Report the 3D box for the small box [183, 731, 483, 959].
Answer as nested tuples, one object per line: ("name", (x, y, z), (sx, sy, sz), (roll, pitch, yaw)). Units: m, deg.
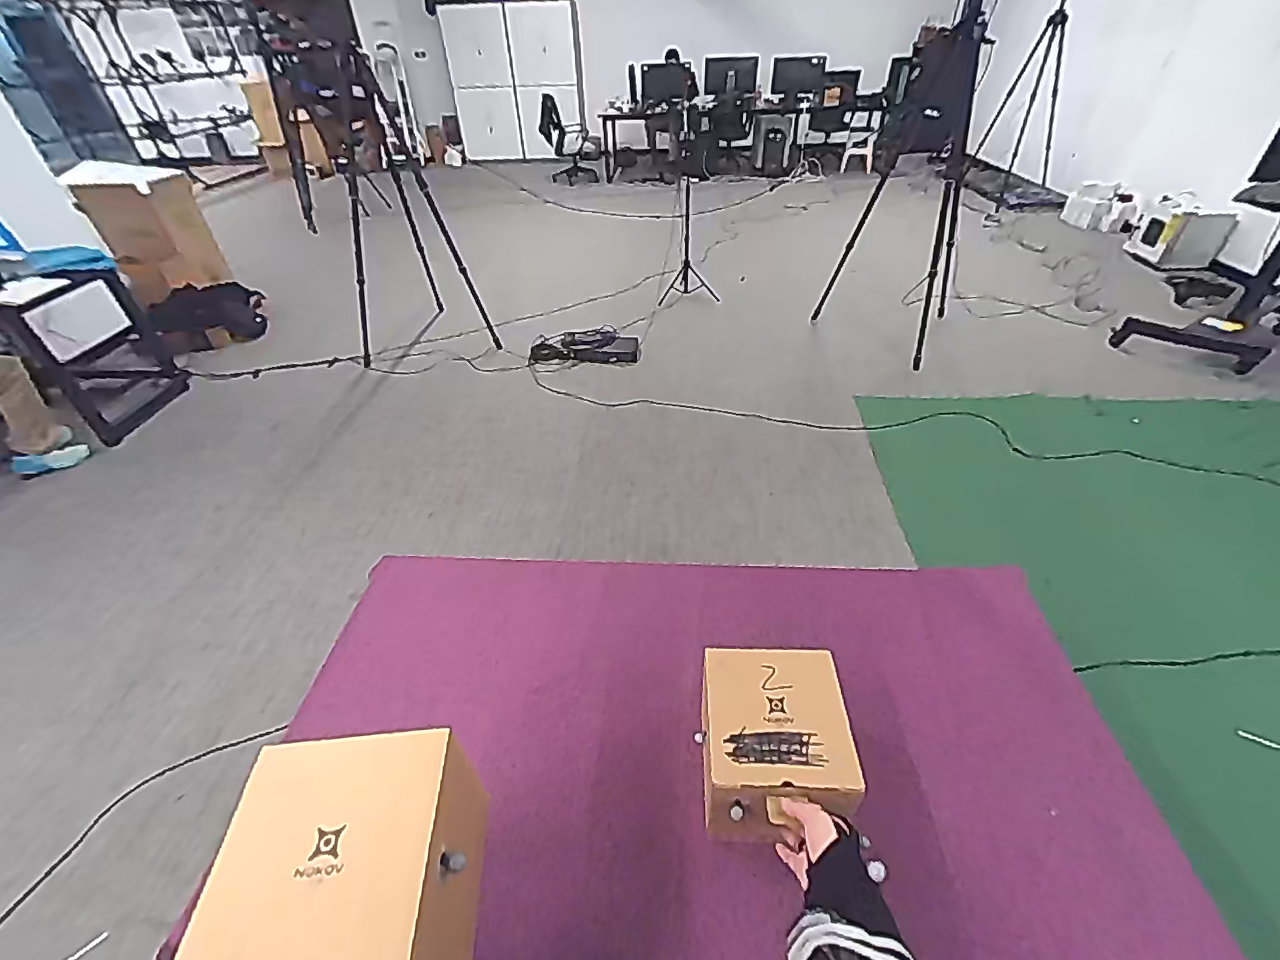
("small box", (-0.246, 0.354, 0.487), (0.168, 0.176, 0.179), (-4, 43, -3))
